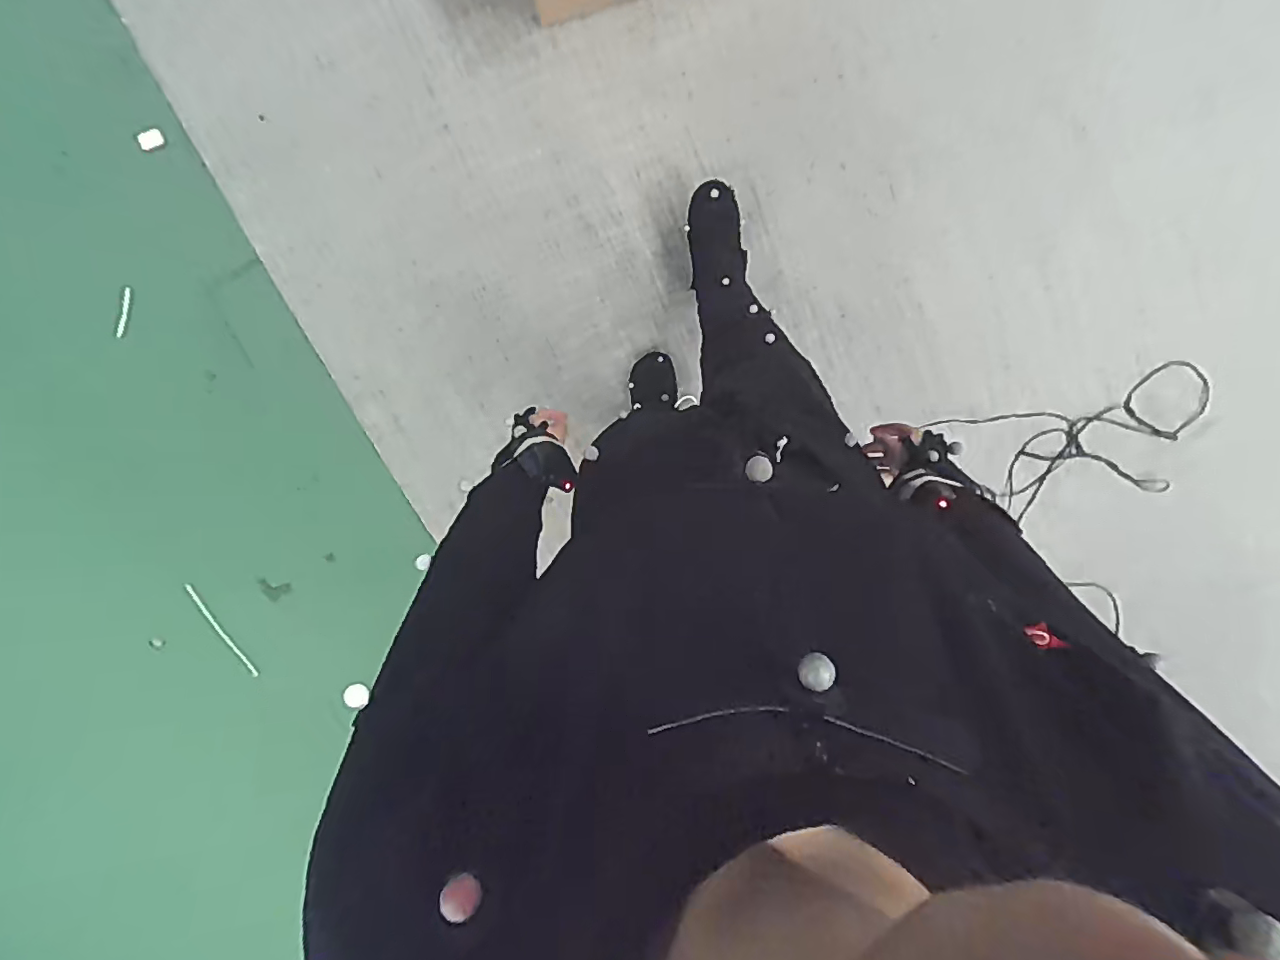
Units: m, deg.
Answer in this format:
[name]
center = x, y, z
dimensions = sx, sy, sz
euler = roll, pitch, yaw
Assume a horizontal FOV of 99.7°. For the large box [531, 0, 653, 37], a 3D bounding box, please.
[large box]
center = -0.044, -1.033, 0.886
dimensions = 0.408, 0.320, 0.320
euler = -17, 108, 1
